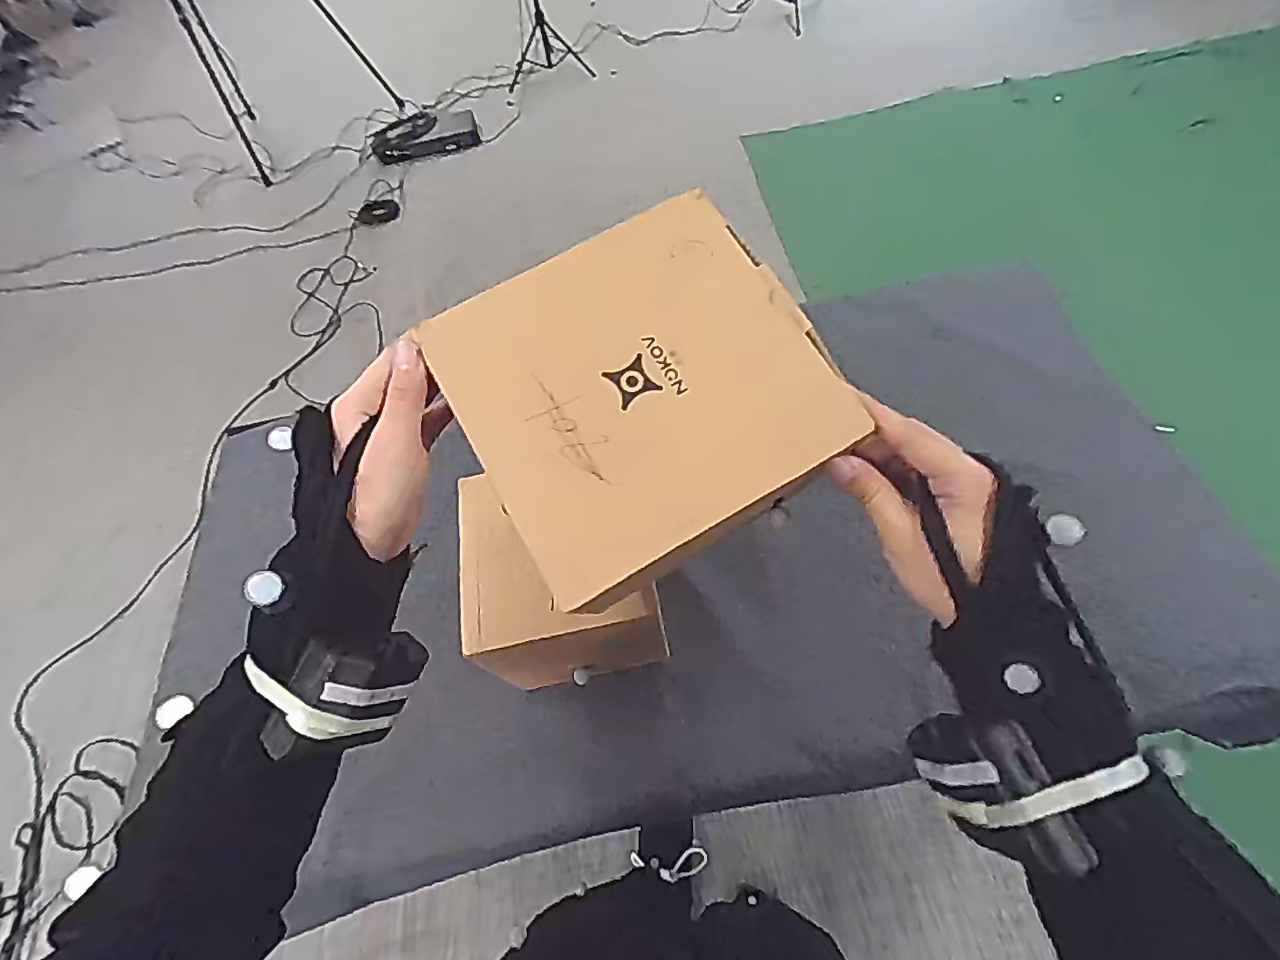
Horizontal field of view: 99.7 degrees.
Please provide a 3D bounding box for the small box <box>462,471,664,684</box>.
[{"bbox_3d":[-0.074,0.095,0.563,0.168,0.176,0.179,-12,59,1],"label":"small box"}]

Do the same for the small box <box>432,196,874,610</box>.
[{"bbox_3d":[0.005,-0.031,0.353,0.179,0.176,0.168,-31,77,-6],"label":"small box"}]
